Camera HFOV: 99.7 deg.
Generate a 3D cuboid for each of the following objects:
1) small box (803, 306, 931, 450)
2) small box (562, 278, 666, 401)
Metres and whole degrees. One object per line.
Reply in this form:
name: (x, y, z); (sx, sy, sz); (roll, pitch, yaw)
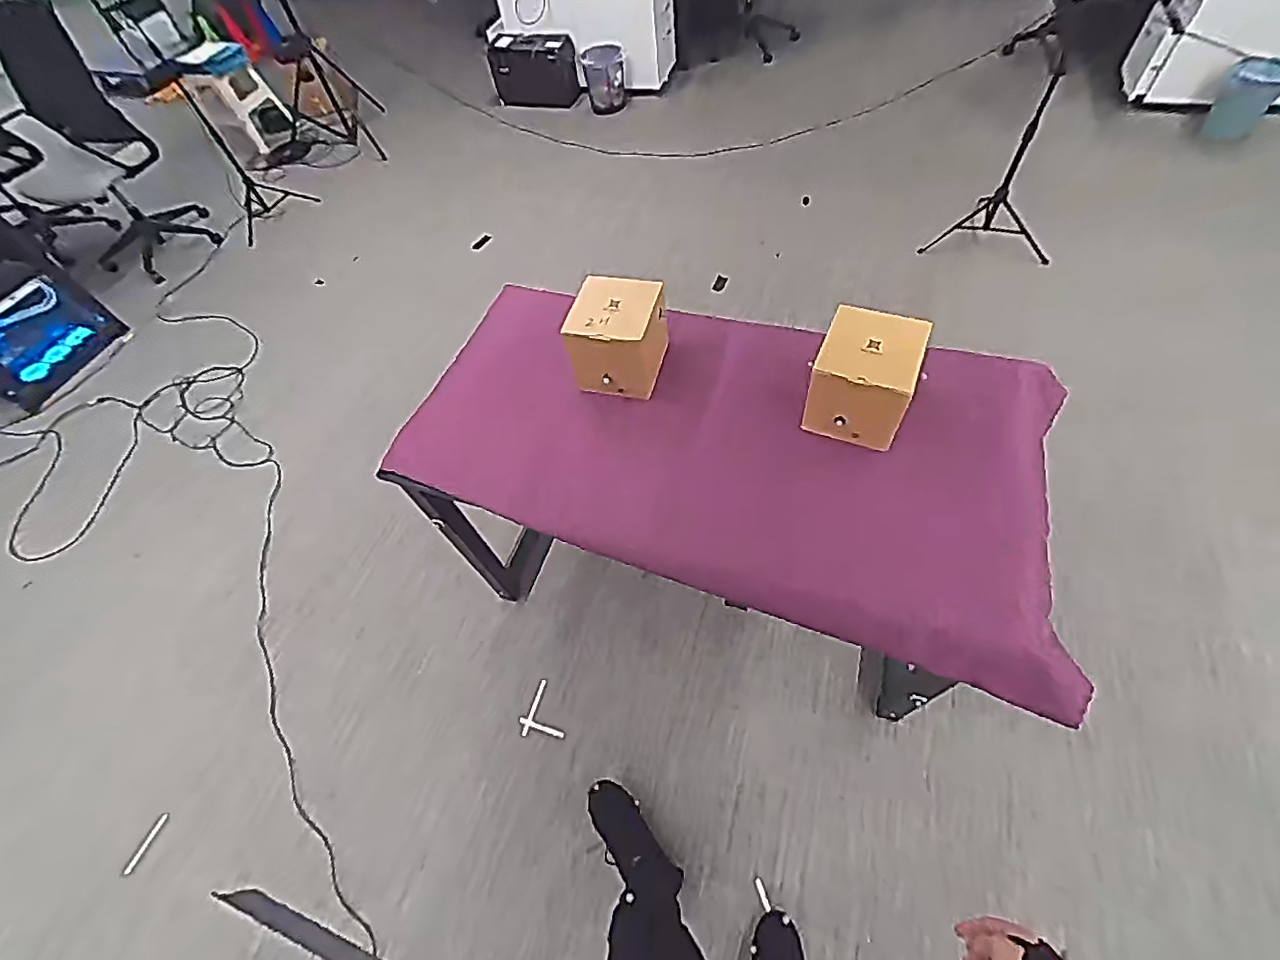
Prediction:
small box: (0.414, -0.188, 1.008); (0.168, 0.176, 0.179); (19, 63, 19)
small box: (-0.044, -0.295, 1.138); (0.168, 0.176, 0.179); (10, 59, 14)
